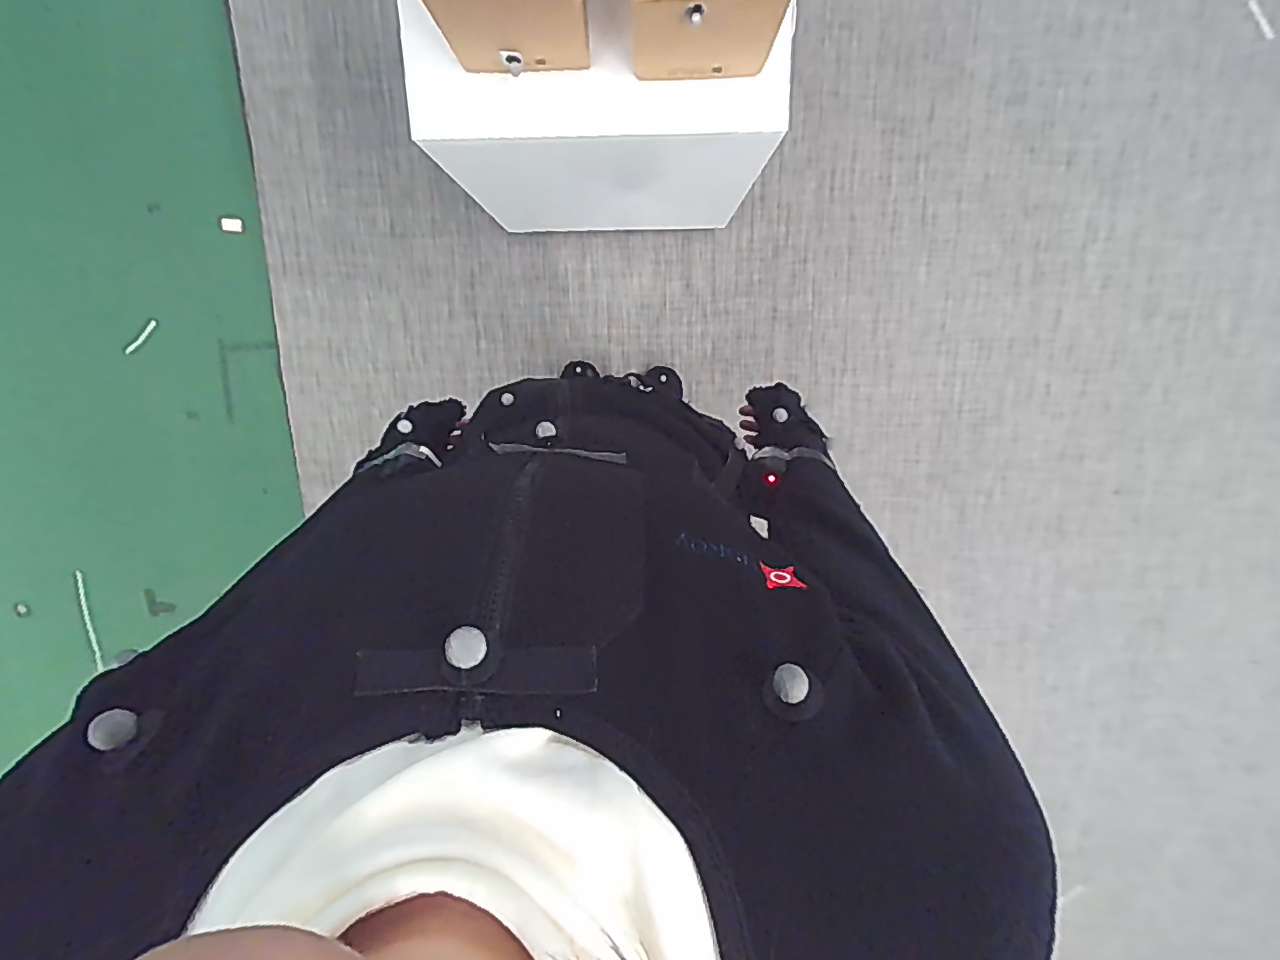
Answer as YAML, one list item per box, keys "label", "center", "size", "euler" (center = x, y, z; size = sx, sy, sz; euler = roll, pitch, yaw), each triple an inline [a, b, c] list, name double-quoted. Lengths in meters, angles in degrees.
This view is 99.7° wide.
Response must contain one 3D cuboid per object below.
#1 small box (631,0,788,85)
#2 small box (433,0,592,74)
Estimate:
- label: "small box"
  center: [0.072, -0.594, 0.619]
  size: [0.168, 0.176, 0.179]
  euler: [-1, 101, 0]
- label: "small box"
  center: [-0.147, -0.599, 0.606]
  size: [0.168, 0.176, 0.179]
  euler: [-3, 103, 2]
